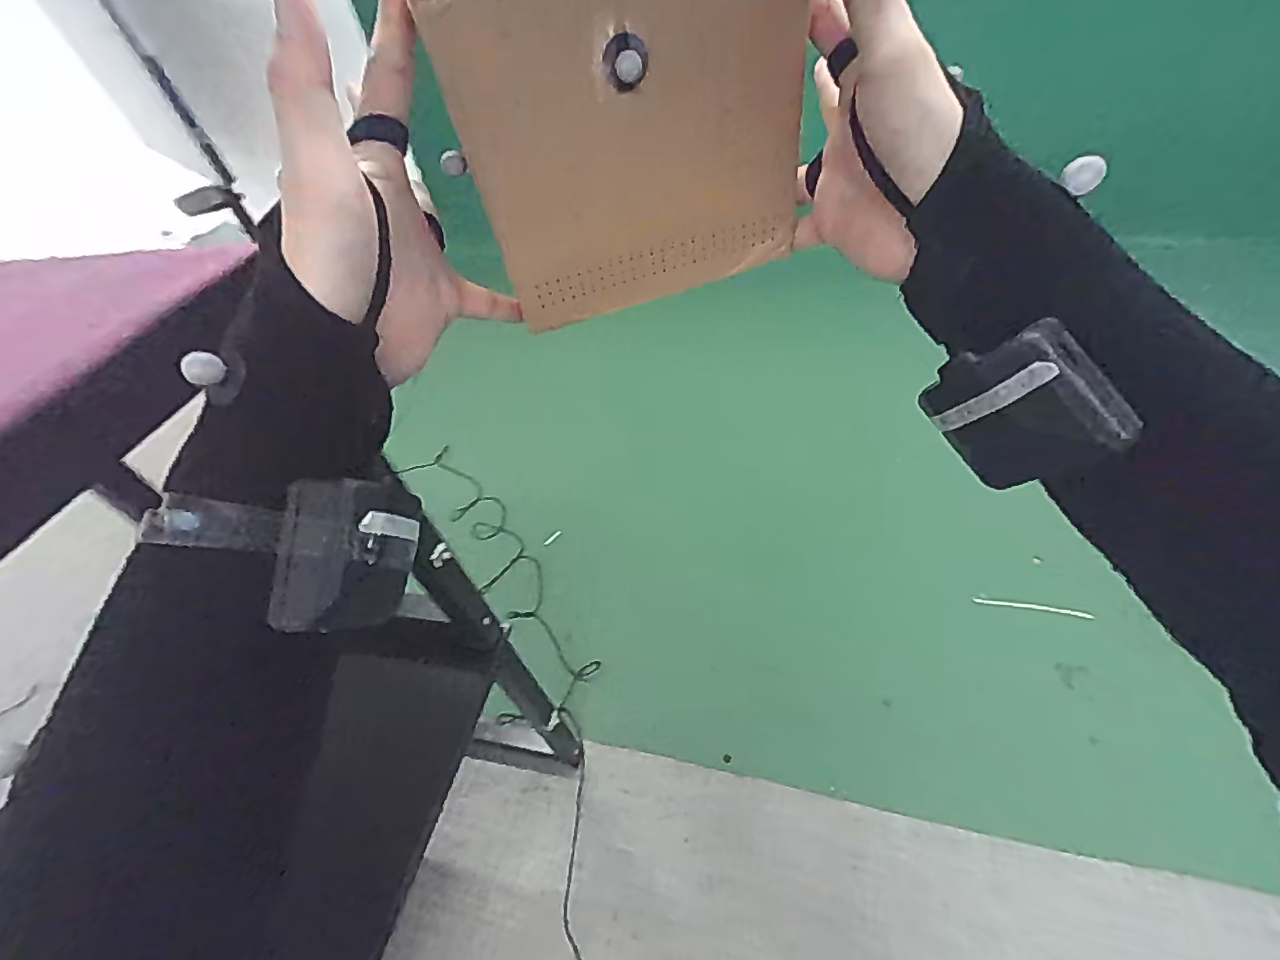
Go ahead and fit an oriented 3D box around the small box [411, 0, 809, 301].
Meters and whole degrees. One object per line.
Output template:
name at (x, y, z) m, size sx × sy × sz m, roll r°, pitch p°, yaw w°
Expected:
small box at (-0.015, -0.227, 0.307) m, size 0.179 × 0.176 × 0.168 m, roll -15°, pitch 51°, yaw -3°
